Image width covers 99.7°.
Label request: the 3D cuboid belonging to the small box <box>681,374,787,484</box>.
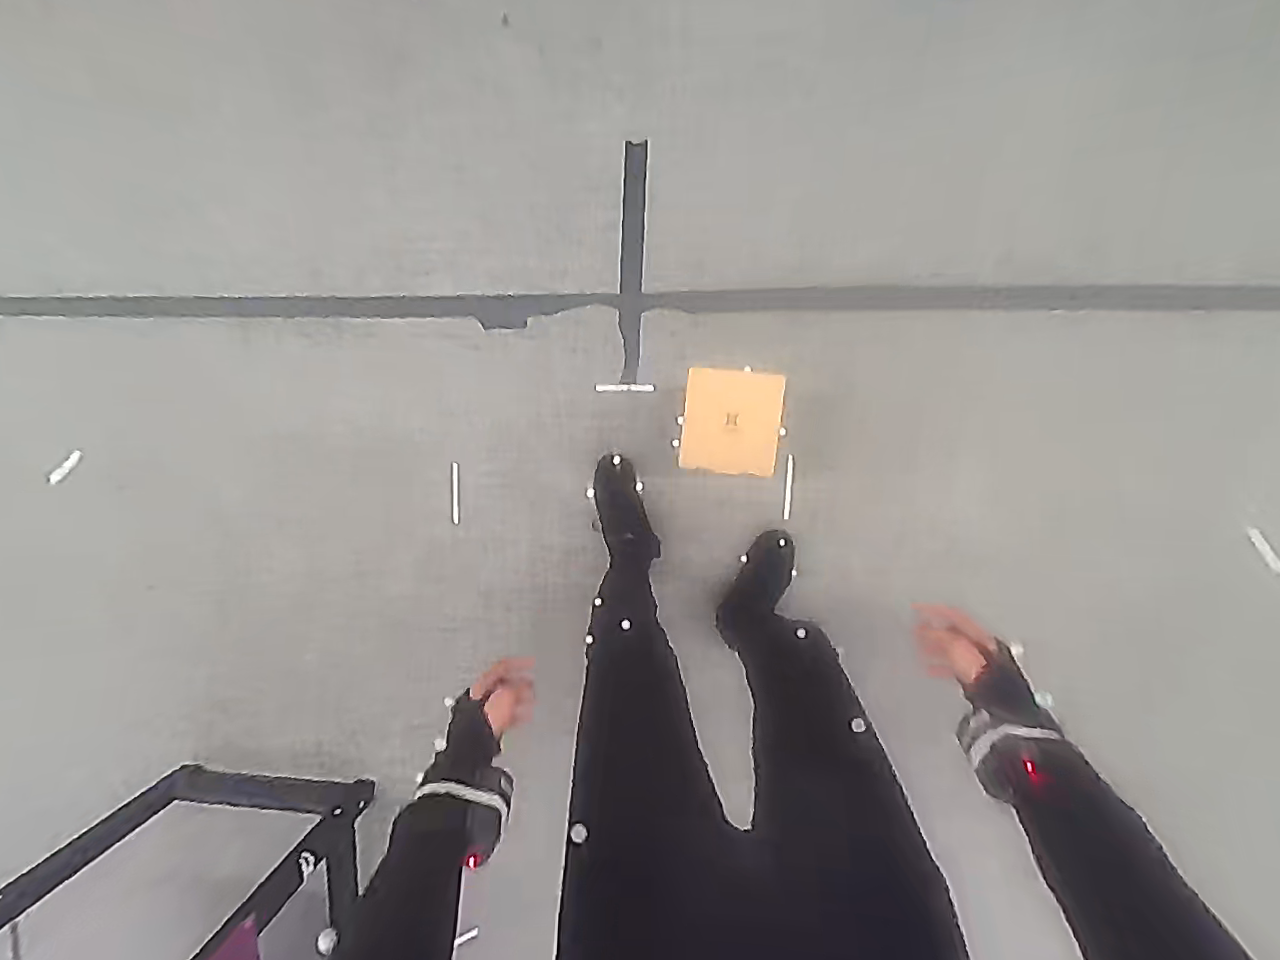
[{"bbox_3d":[0.165,-0.097,1.003,0.168,0.176,0.179,6,99,5],"label":"small box"}]
